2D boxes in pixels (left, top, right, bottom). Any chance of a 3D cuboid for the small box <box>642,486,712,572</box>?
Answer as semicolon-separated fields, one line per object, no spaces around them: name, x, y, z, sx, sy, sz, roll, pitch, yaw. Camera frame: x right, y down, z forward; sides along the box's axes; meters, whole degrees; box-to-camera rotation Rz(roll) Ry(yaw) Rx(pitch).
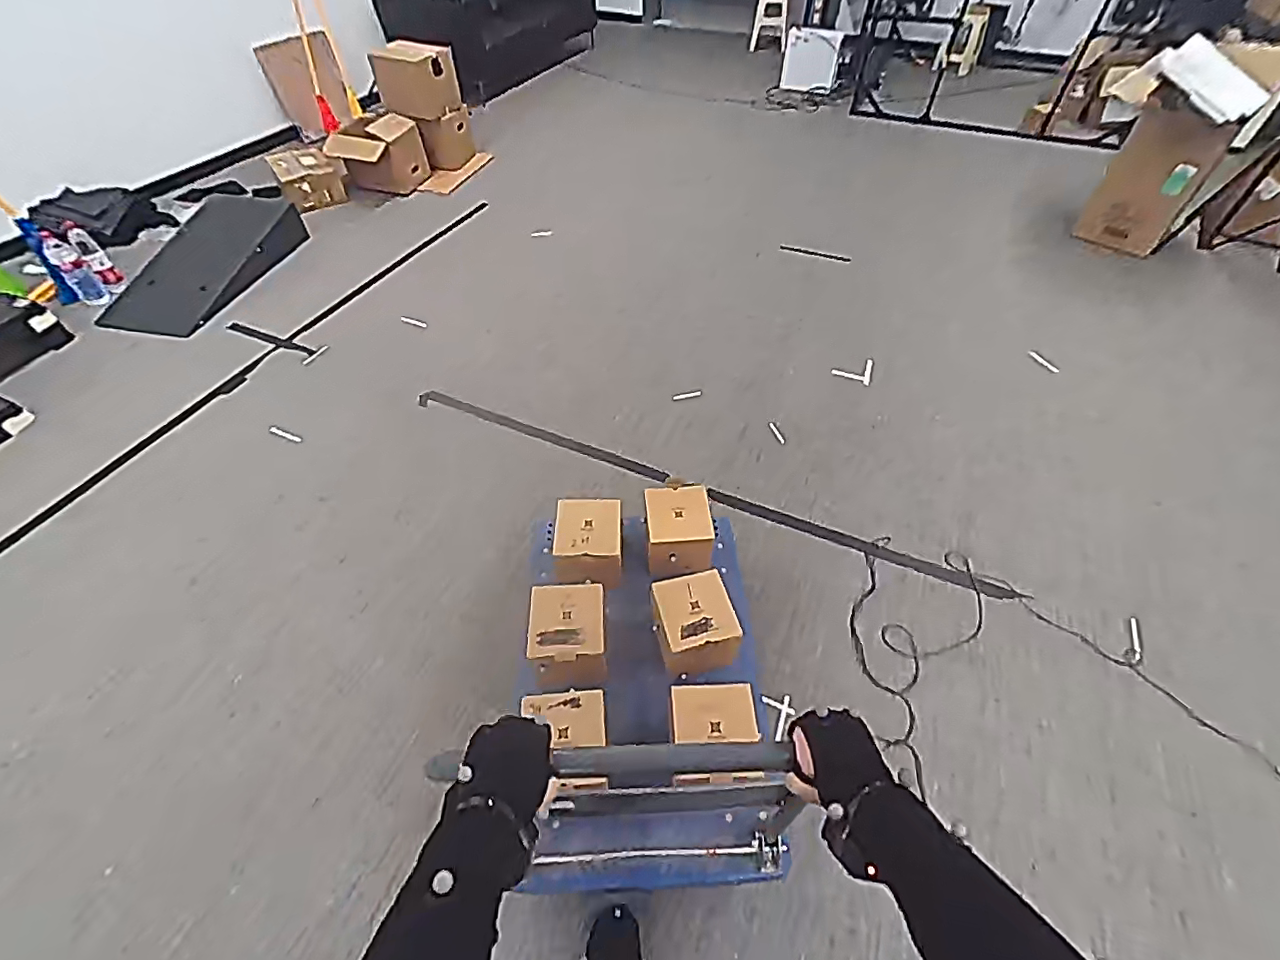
small box;0.095;0.139;1.468;0.168;0.176;0.179;-4;50;-4

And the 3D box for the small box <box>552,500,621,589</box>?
small box;-0.135;0.171;1.434;0.168;0.176;0.179;0;50;-1

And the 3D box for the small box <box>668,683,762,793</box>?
small box;0.148;0.540;1.125;0.168;0.176;0.179;-1;49;-2

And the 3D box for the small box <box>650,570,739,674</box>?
small box;0.123;0.345;1.292;0.168;0.176;0.179;-11;50;-10

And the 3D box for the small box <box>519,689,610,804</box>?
small box;-0.150;0.551;1.110;0.168;0.176;0.179;-4;50;-5
